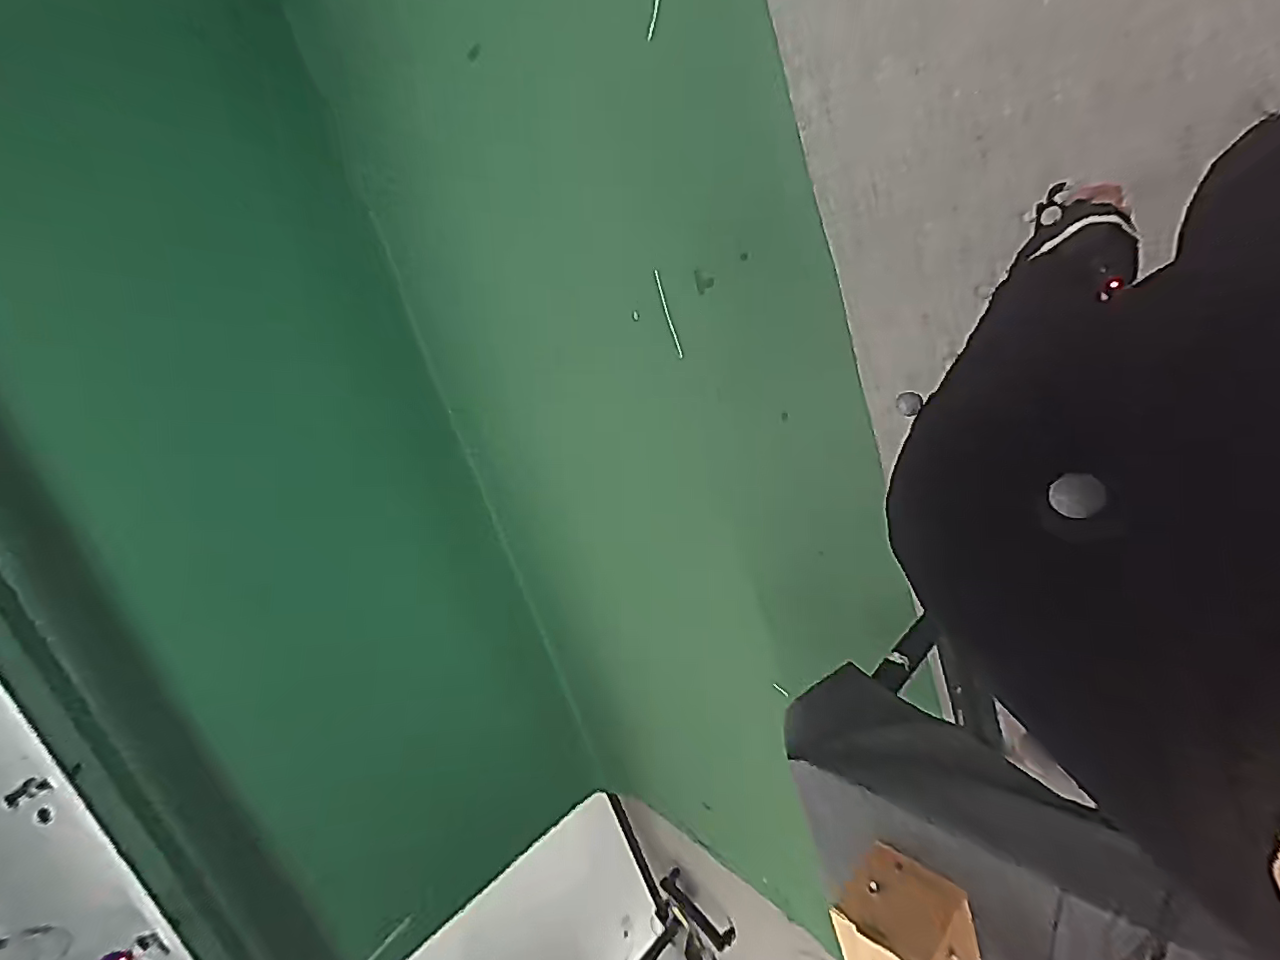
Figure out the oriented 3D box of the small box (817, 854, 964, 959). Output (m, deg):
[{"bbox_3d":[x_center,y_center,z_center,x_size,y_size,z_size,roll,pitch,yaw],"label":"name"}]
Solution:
[{"bbox_3d":[0.441,0.813,0.944,0.168,0.176,0.179,1,115,53],"label":"small box"}]
